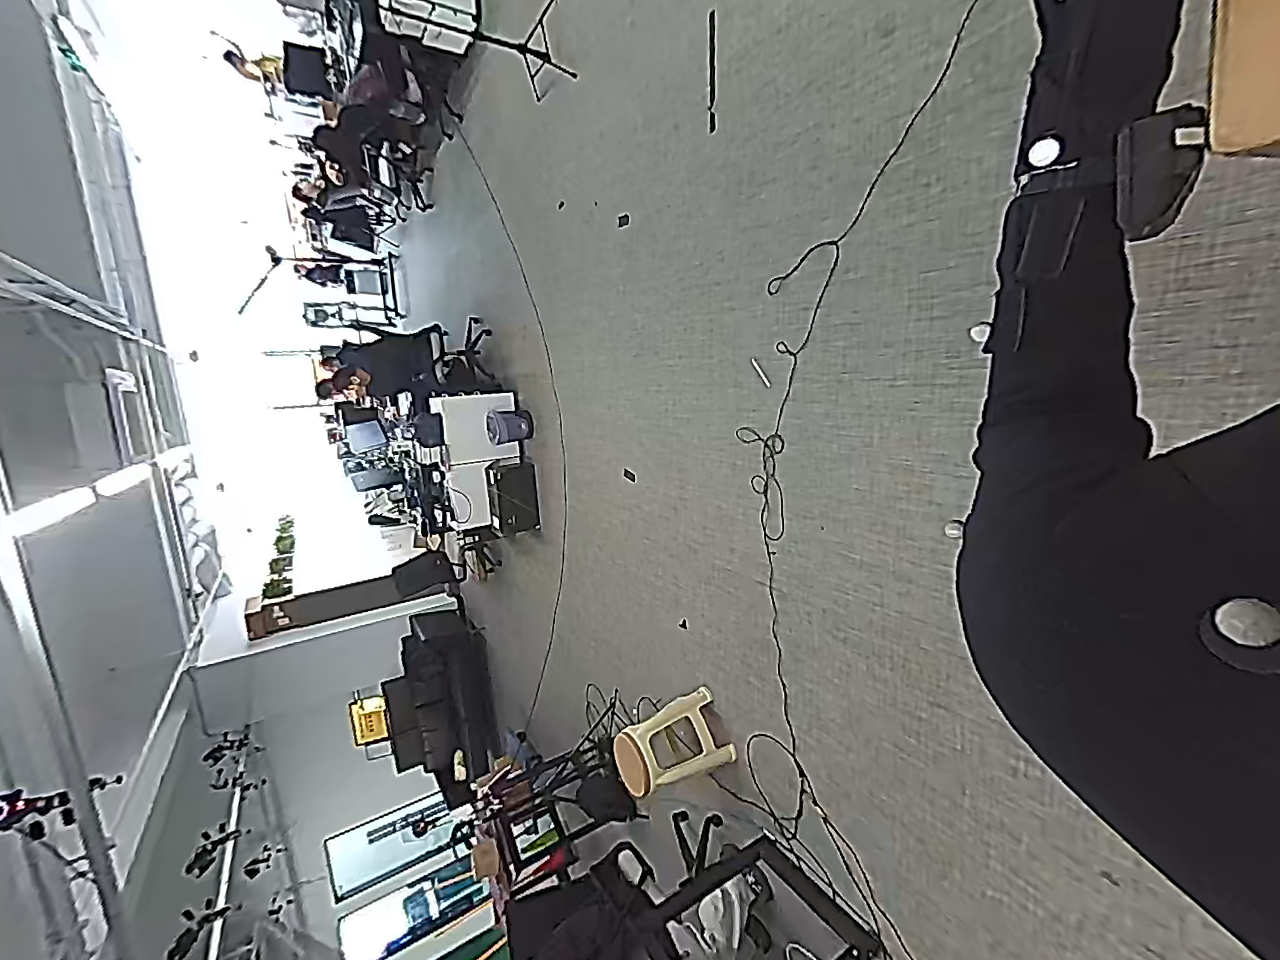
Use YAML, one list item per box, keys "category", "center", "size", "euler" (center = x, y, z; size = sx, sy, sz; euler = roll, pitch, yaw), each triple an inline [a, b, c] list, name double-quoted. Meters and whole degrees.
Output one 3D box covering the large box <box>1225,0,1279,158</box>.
- category: "large box"
  center: [0.527, -0.353, 0.184]
  size: [0.408, 0.320, 0.320]
  euler: [9, 115, 56]
